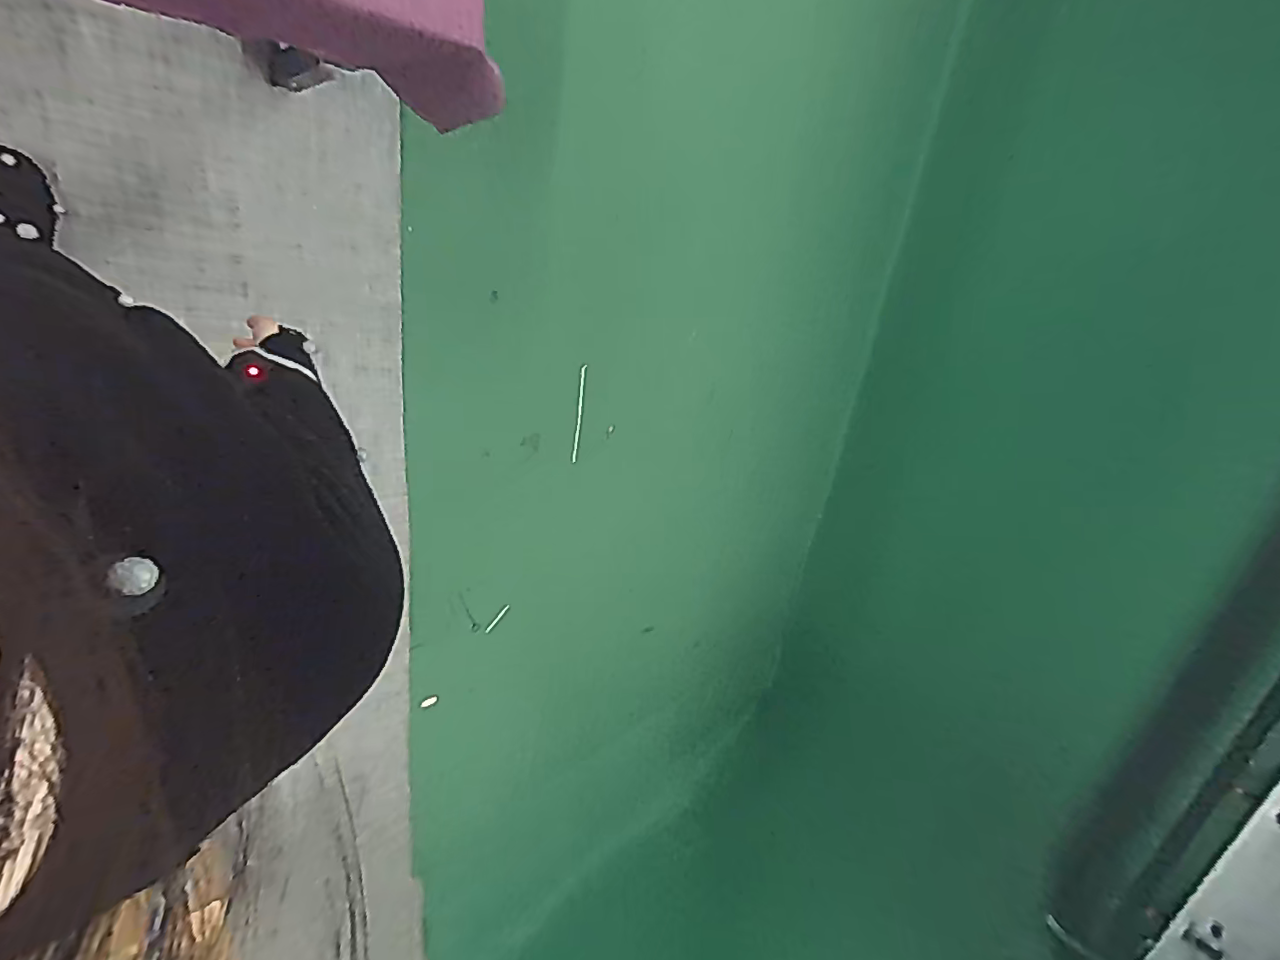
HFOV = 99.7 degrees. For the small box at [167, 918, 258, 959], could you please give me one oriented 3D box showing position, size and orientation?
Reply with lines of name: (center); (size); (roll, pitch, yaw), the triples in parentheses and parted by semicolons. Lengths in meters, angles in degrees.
small box: (-1.034, 1.234, 1.315); (0.168, 0.176, 0.179); (-12, 121, -46)
